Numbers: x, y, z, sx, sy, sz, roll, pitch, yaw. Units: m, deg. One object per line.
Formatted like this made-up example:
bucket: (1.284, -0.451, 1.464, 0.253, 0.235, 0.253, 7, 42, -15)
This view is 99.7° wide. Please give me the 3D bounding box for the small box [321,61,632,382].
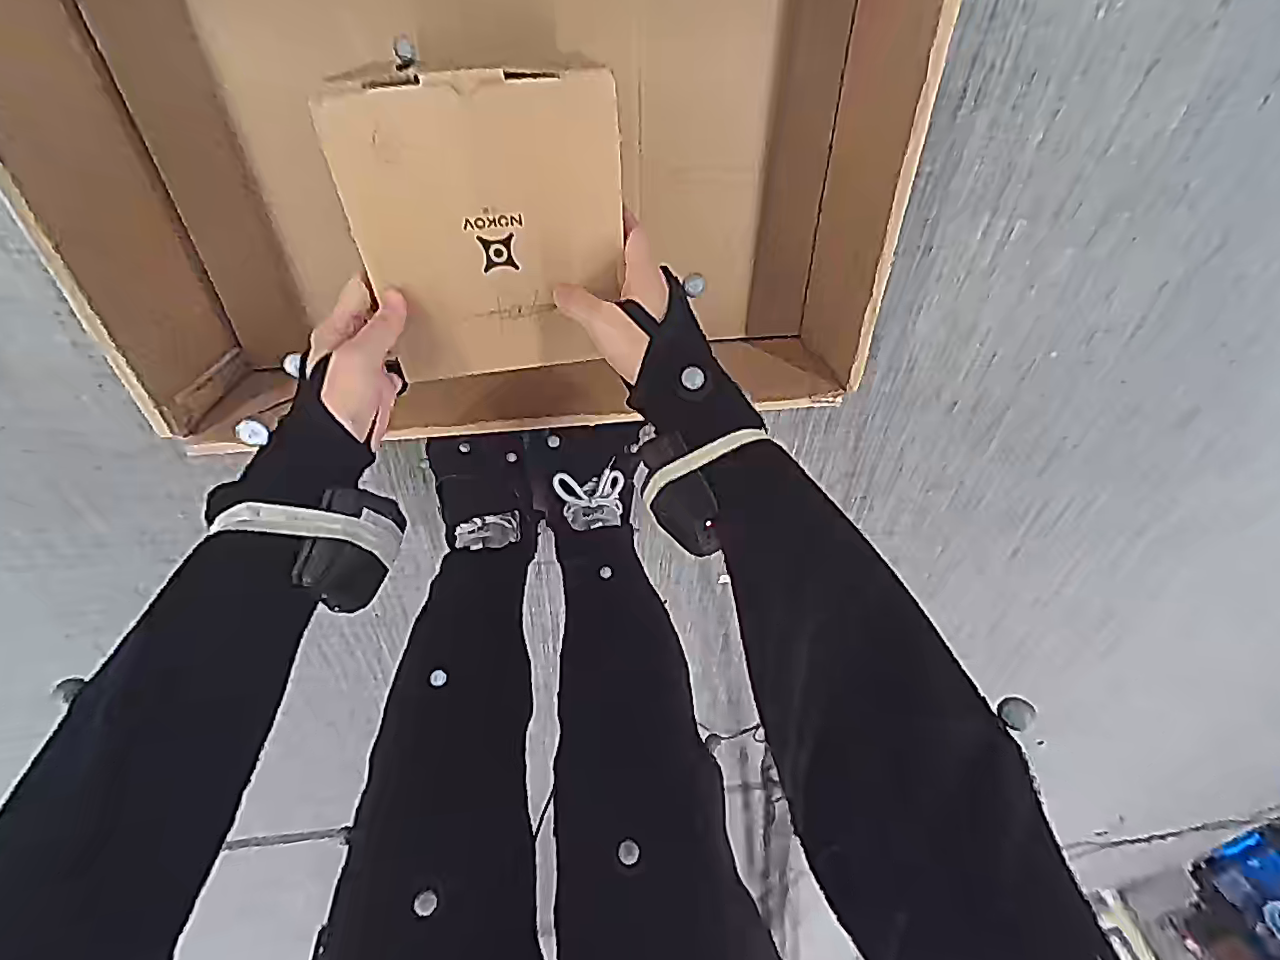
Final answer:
small box: (-0.103, -0.200, 0.406, 0.168, 0.176, 0.179, -9, 133, -6)
